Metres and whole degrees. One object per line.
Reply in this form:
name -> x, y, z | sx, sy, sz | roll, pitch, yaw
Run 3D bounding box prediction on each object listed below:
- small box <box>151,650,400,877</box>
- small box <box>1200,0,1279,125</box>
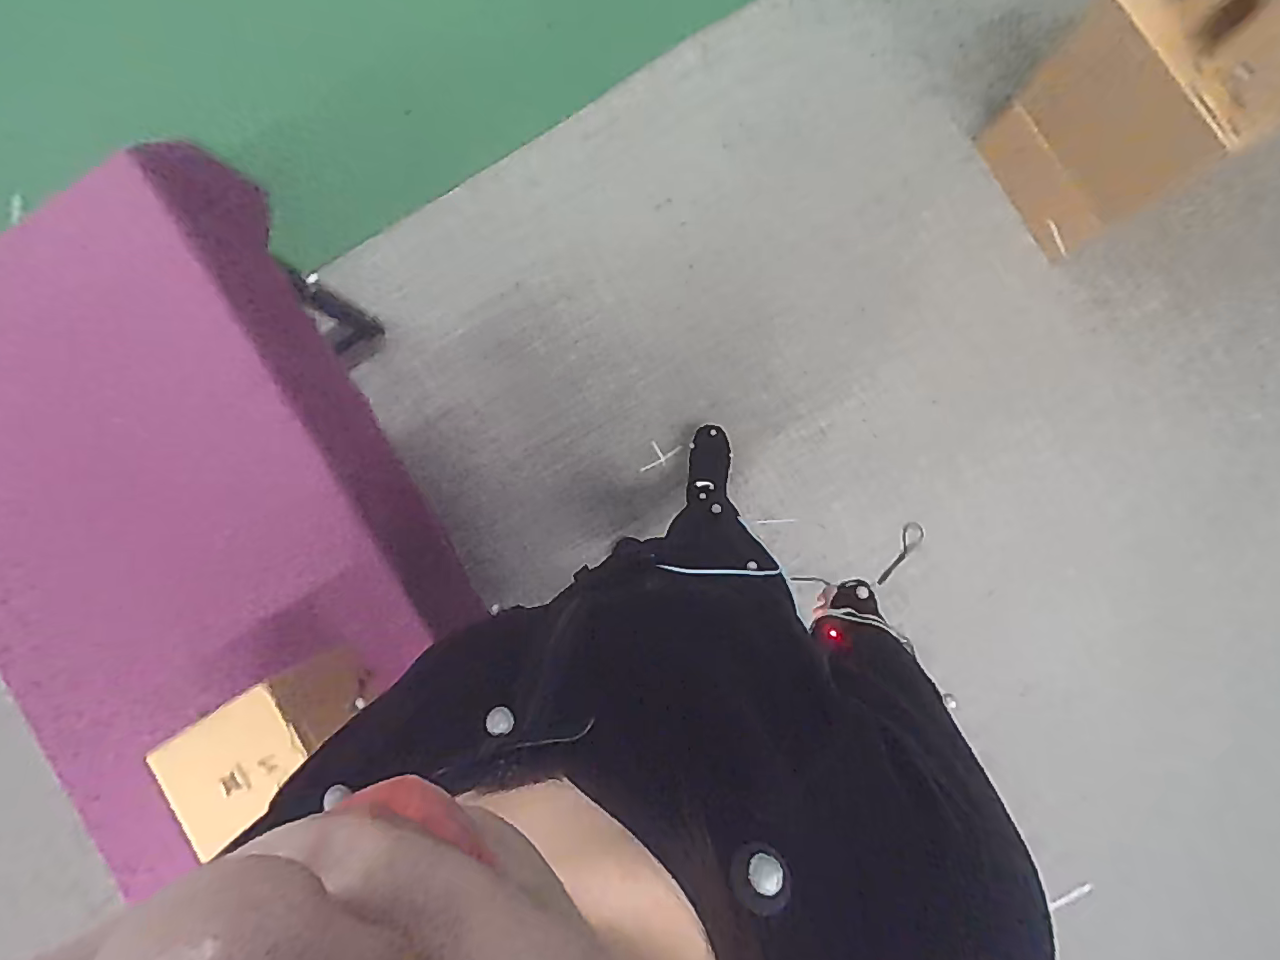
small box -> -0.460, 0.353, 0.710 | 0.179, 0.176, 0.168 | -33, 87, 2
small box -> 1.152, -0.766, 0.930 | 0.179, 0.176, 0.168 | -24, 85, 3
